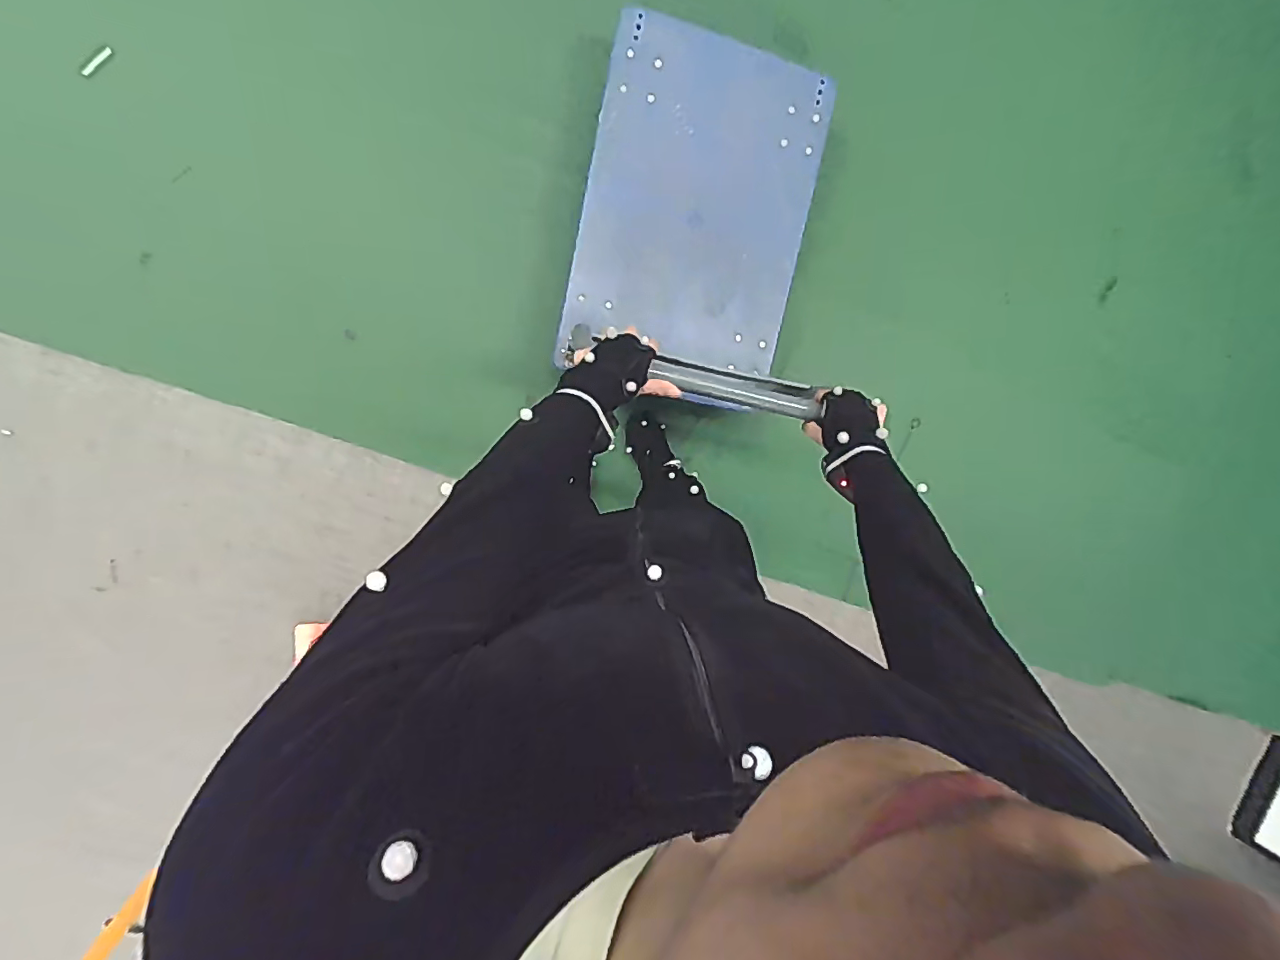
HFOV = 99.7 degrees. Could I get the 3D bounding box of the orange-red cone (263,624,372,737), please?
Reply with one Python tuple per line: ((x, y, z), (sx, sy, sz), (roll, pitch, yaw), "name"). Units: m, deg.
((-0.849, 0.531, 1.372), (0.199, 0.360, 0.198), (4, 97, -9), "orange-red cone")
